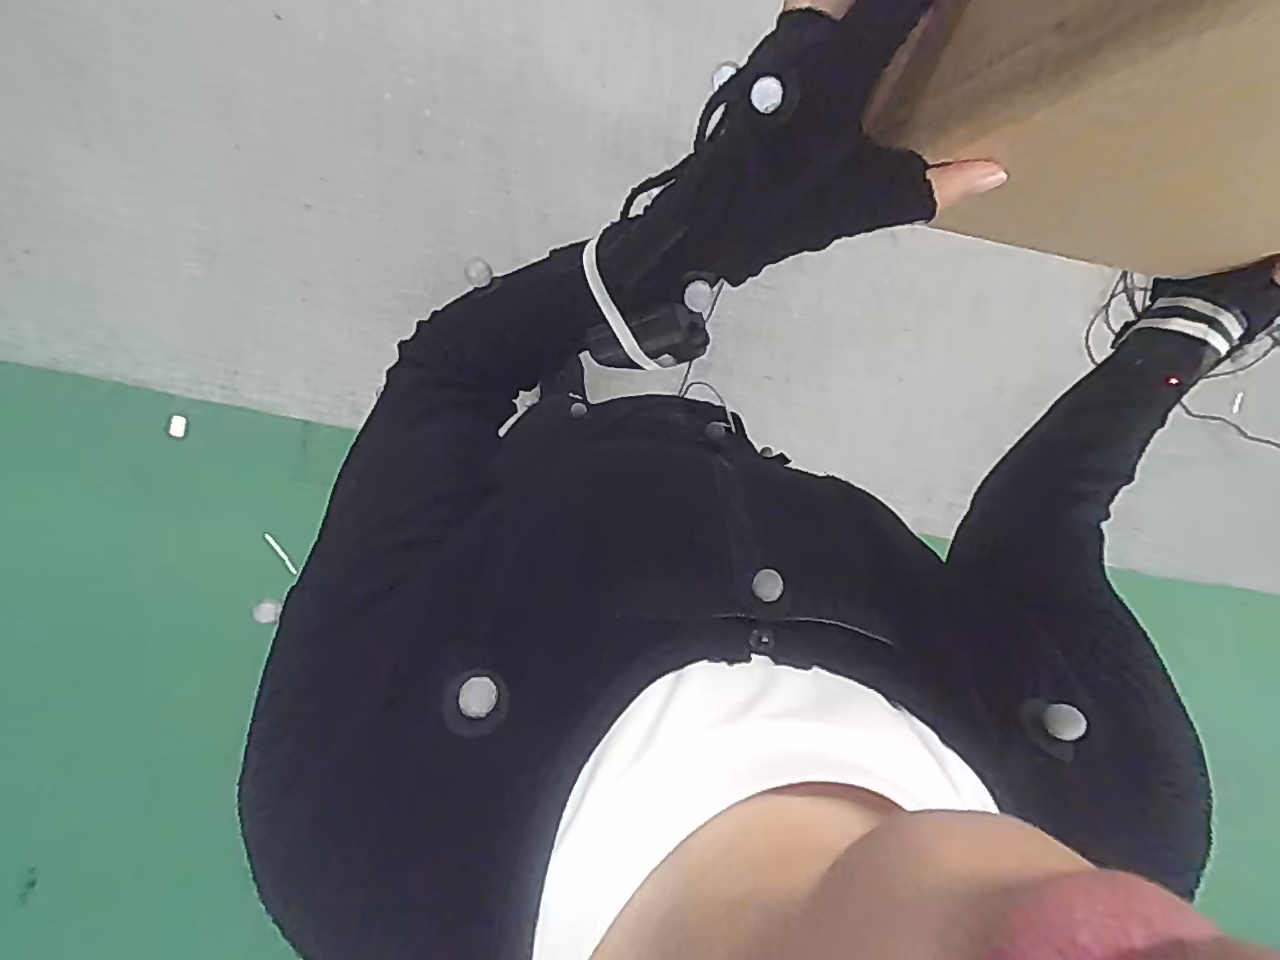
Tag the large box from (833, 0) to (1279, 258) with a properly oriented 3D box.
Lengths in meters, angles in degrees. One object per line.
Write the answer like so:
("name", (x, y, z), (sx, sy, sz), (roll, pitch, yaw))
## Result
("large box", (0.334, -0.304, 0.217), (0.408, 0.320, 0.320), (-5, 98, -27))
